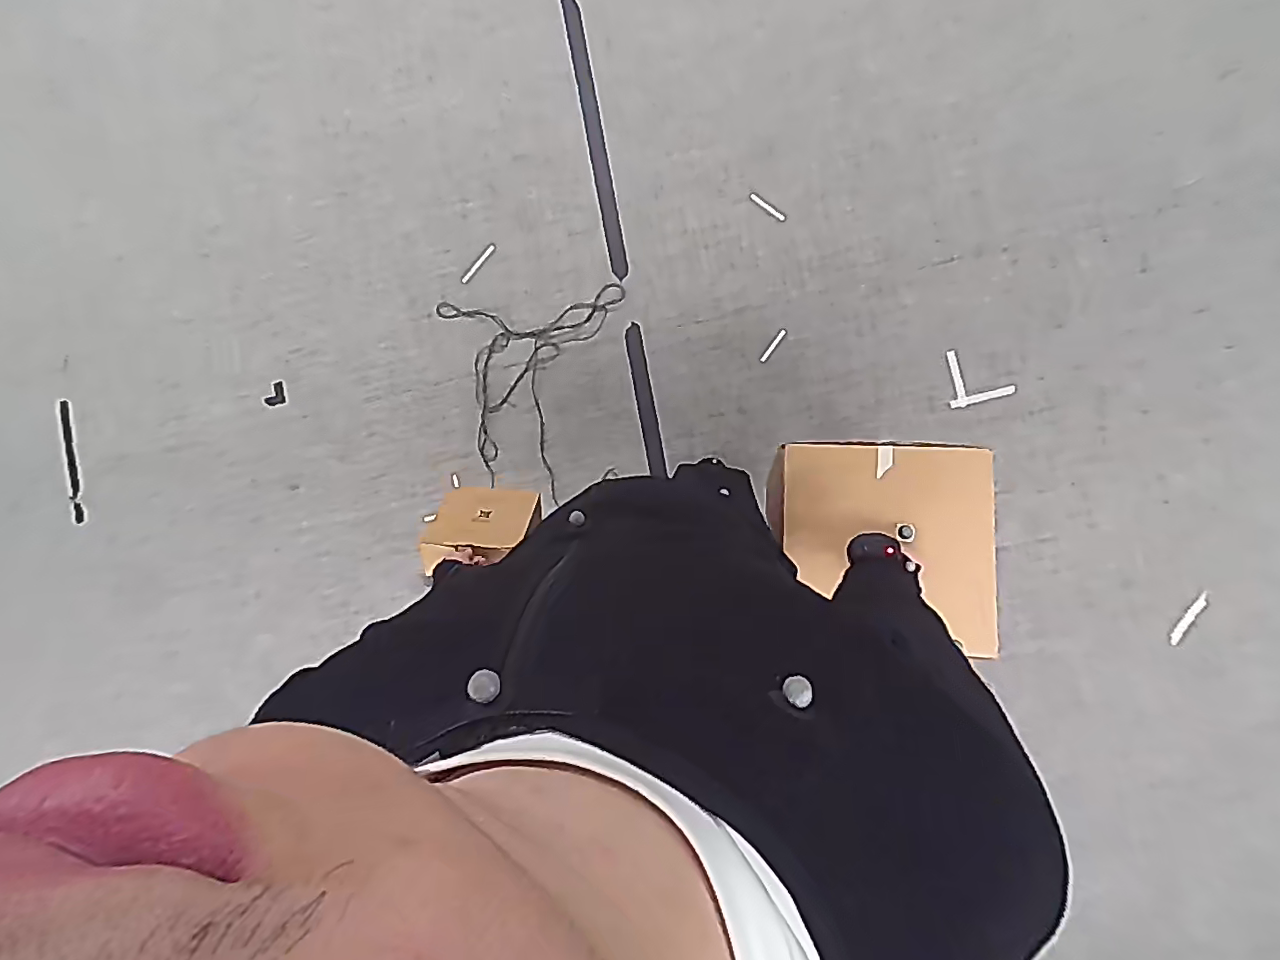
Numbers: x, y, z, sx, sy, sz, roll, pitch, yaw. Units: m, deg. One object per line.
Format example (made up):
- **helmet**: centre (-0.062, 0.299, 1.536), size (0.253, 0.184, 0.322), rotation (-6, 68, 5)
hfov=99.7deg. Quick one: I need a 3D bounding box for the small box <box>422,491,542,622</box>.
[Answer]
- **small box**: centre (-0.276, 0.140, 0.991), size (0.168, 0.179, 0.176), rotation (4, 120, 0)
